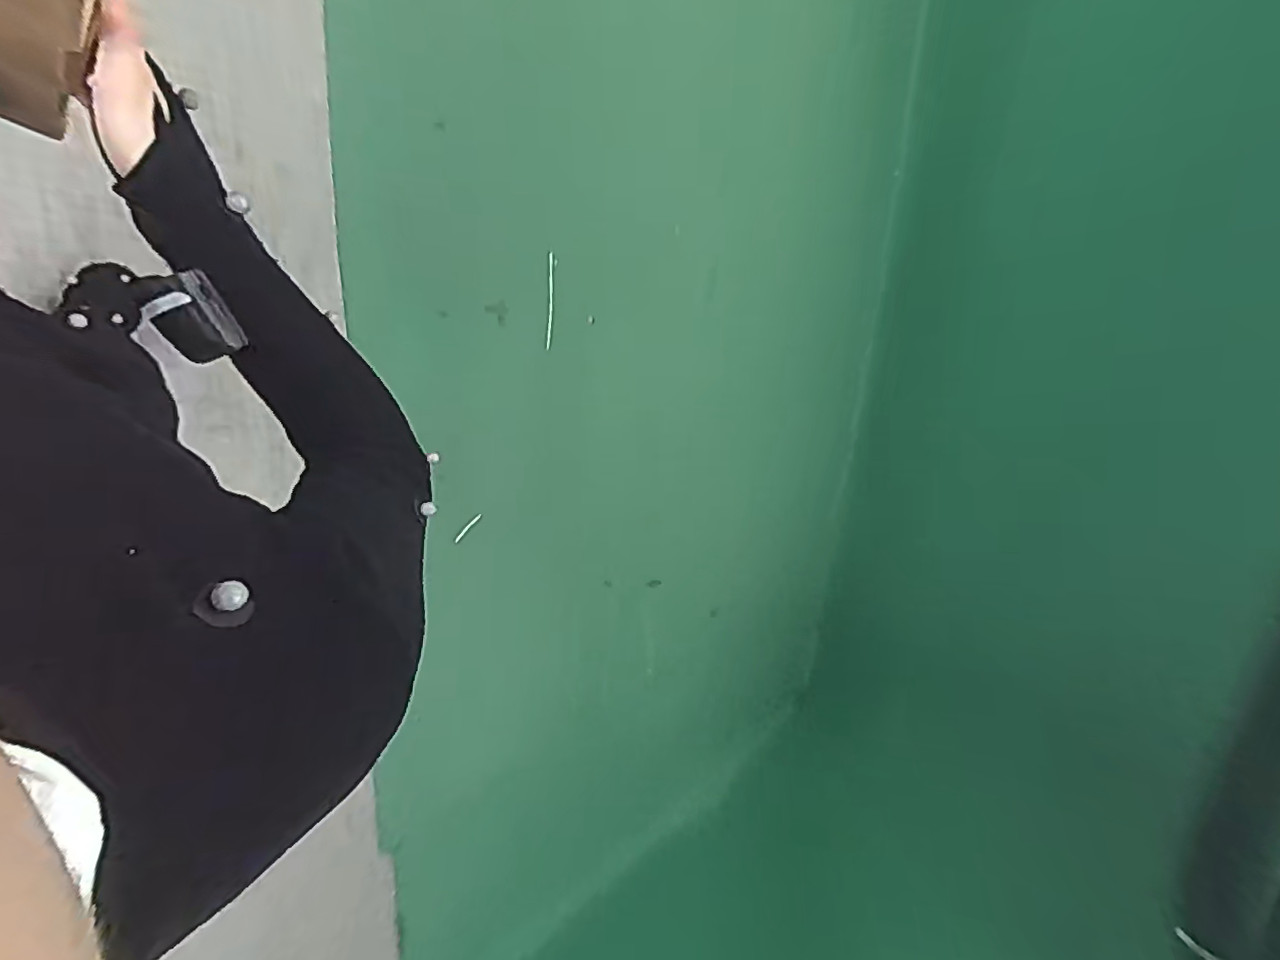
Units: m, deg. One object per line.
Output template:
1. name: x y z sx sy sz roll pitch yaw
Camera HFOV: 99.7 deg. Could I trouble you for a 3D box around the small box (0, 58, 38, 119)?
1. small box: -0.506 -0.382 0.350 0.168 0.176 0.179 14 87 -49
